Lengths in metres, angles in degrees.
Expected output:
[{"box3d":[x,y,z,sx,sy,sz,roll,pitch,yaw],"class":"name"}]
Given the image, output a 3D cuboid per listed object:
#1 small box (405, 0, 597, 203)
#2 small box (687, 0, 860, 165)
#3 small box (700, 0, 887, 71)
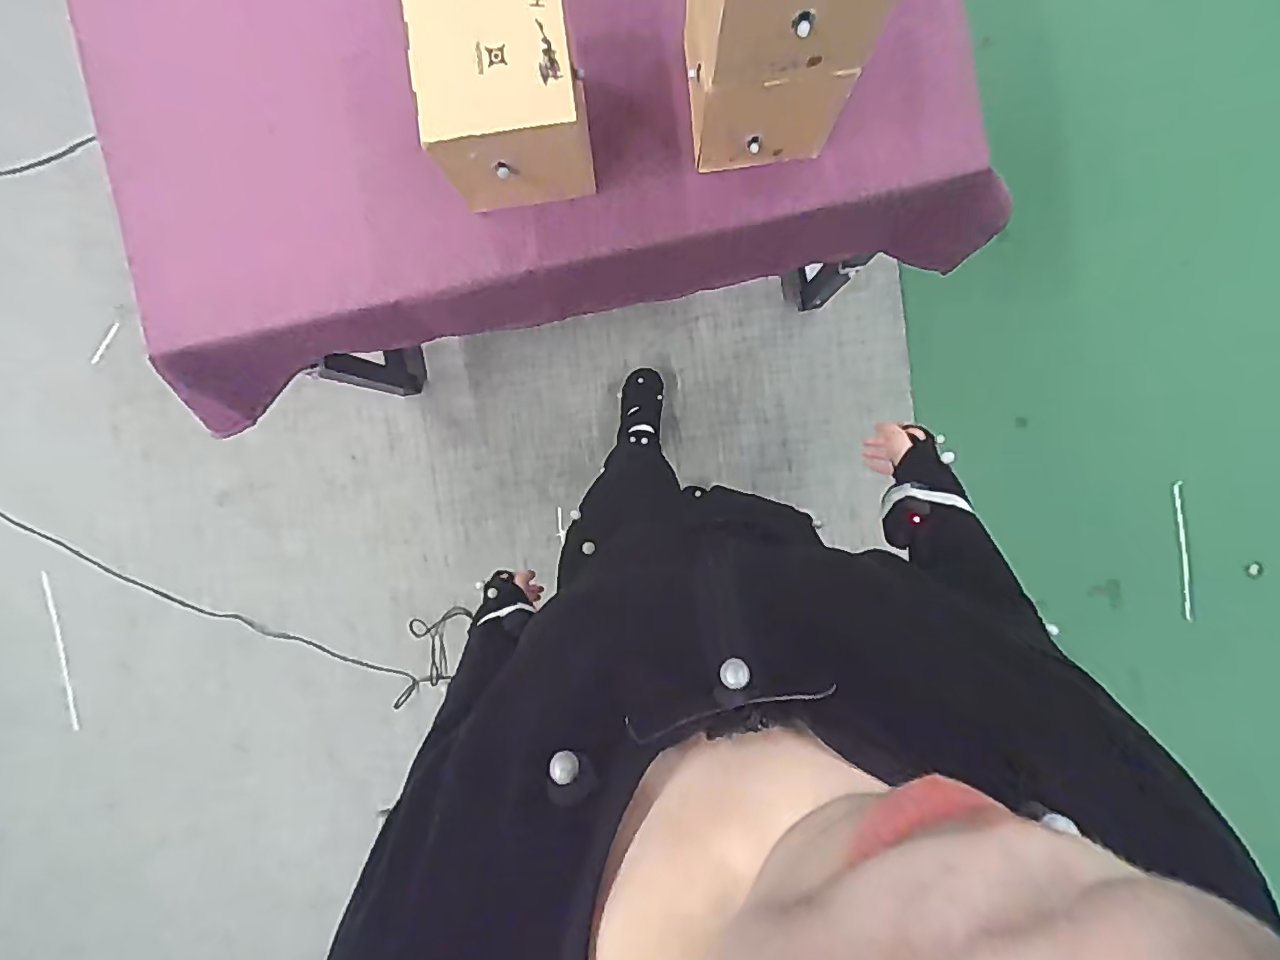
[{"box3d":[-0.159,-0.466,0.666,0.179,0.176,0.168,-7,92,3],"class":"small box"},{"box3d":[0.148,-0.519,0.652,0.168,0.176,0.179,-6,93,3],"class":"small box"},{"box3d":[0.142,-0.511,0.488,0.168,0.176,0.179,-7,92,2],"class":"small box"}]
